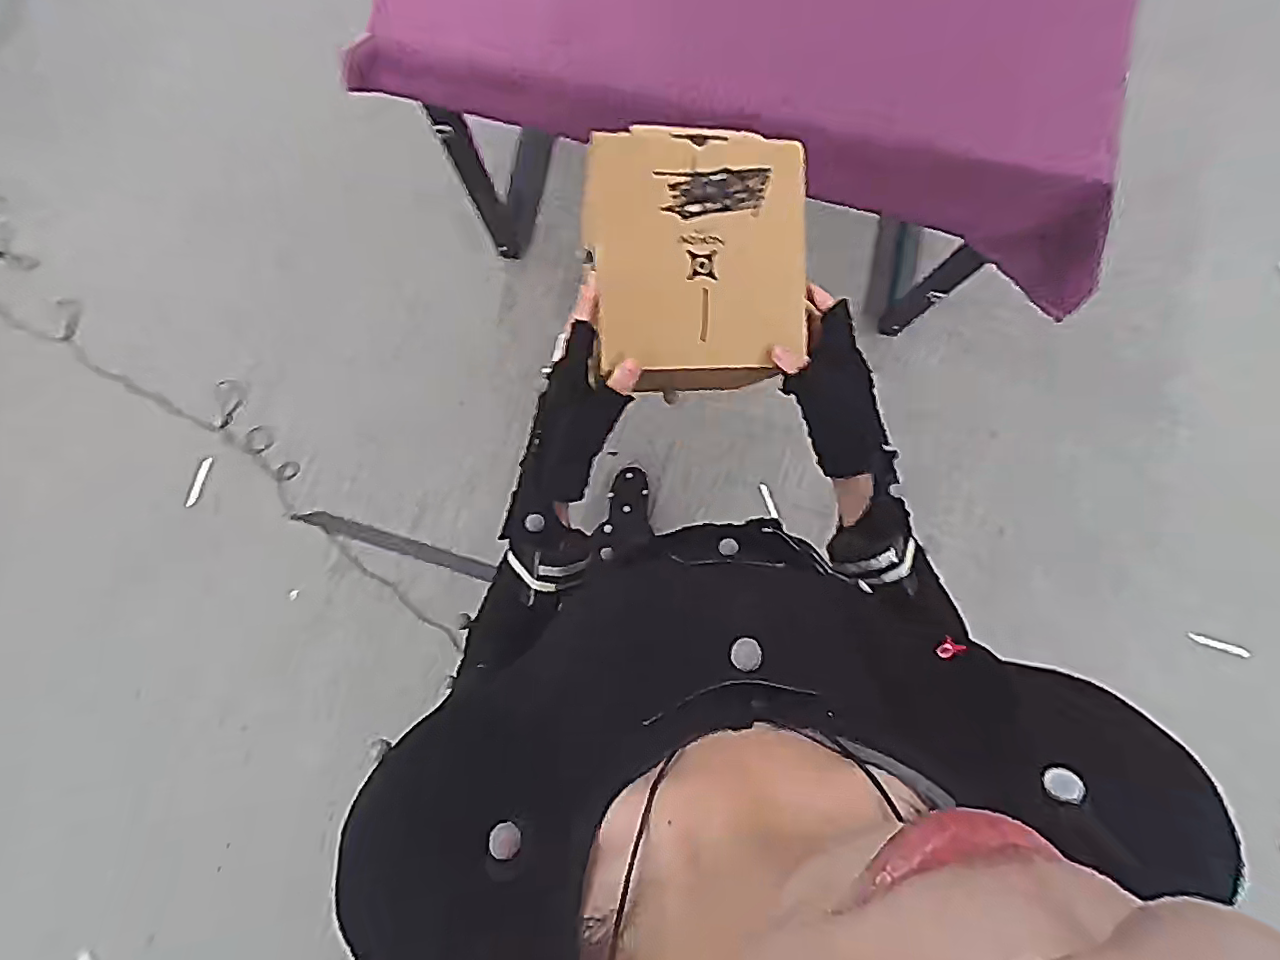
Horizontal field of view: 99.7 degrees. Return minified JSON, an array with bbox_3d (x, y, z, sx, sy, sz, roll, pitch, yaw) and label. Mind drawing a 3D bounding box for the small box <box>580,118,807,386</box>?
[{"bbox_3d":[0.035,-0.182,0.485,0.168,0.176,0.179,-3,94,-8],"label":"small box"}]
